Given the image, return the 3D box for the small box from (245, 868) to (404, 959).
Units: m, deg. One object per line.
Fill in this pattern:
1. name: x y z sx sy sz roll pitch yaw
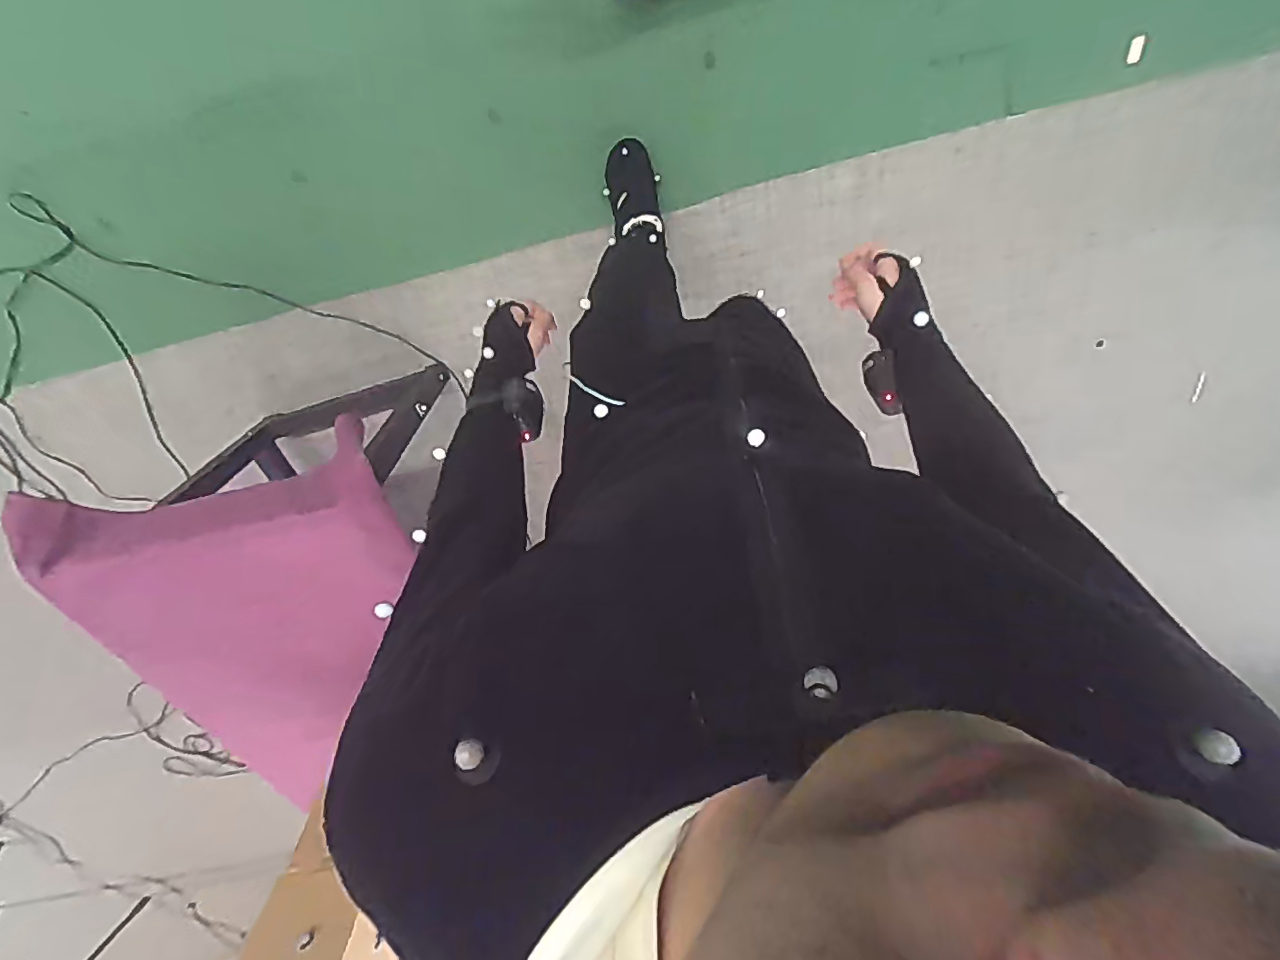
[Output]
1. small box: -0.504 0.753 0.867 0.179 0.176 0.168 -10 121 4
